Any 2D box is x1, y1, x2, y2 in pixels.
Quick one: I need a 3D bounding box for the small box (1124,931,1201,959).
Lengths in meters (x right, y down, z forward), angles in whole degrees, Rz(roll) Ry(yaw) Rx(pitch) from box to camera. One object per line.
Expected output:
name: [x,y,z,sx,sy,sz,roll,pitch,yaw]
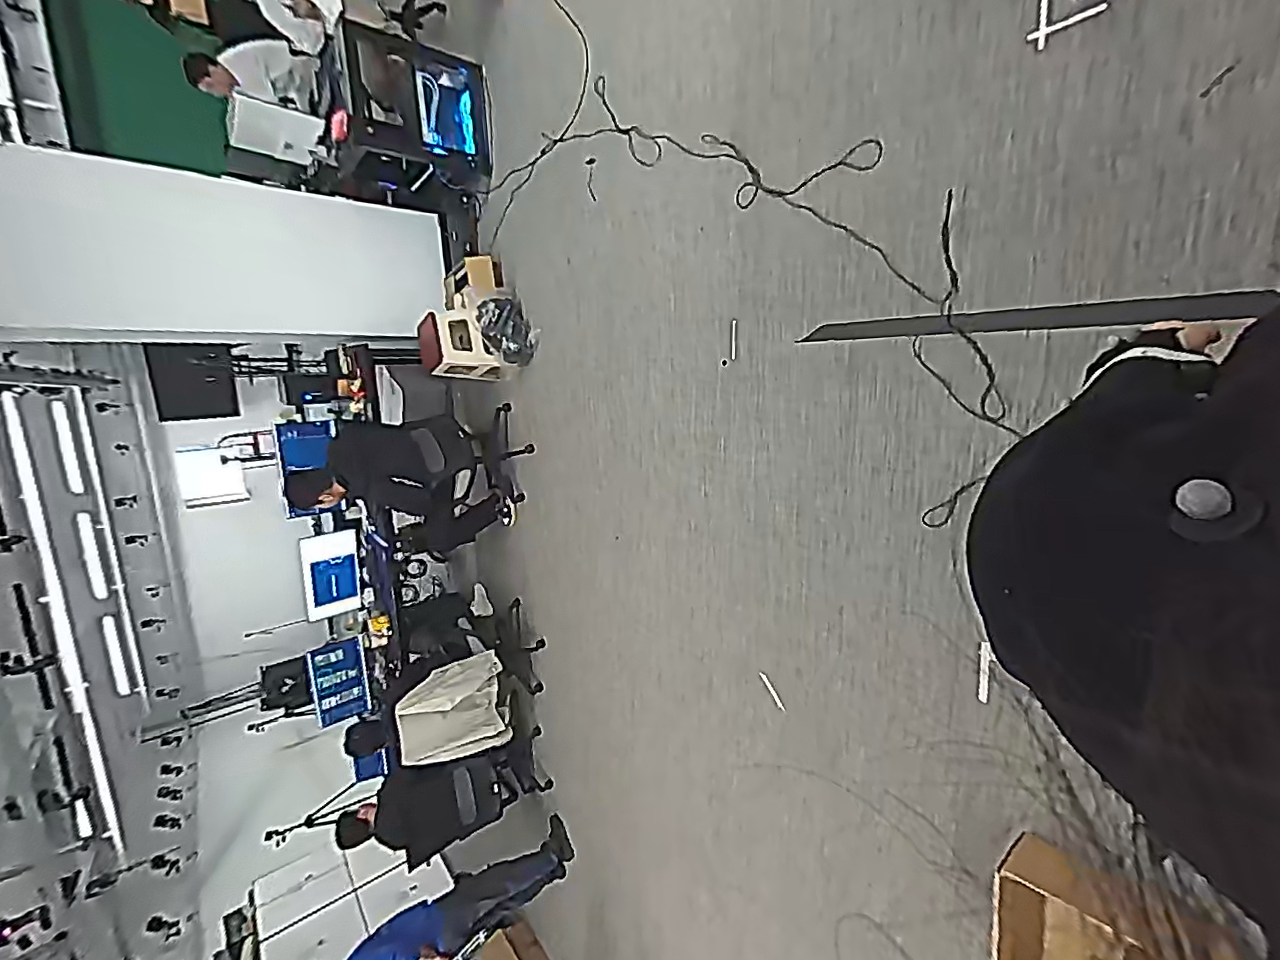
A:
small box: [1.135,1.125,1.137,0.168,0.176,0.179,-2,97,51]
